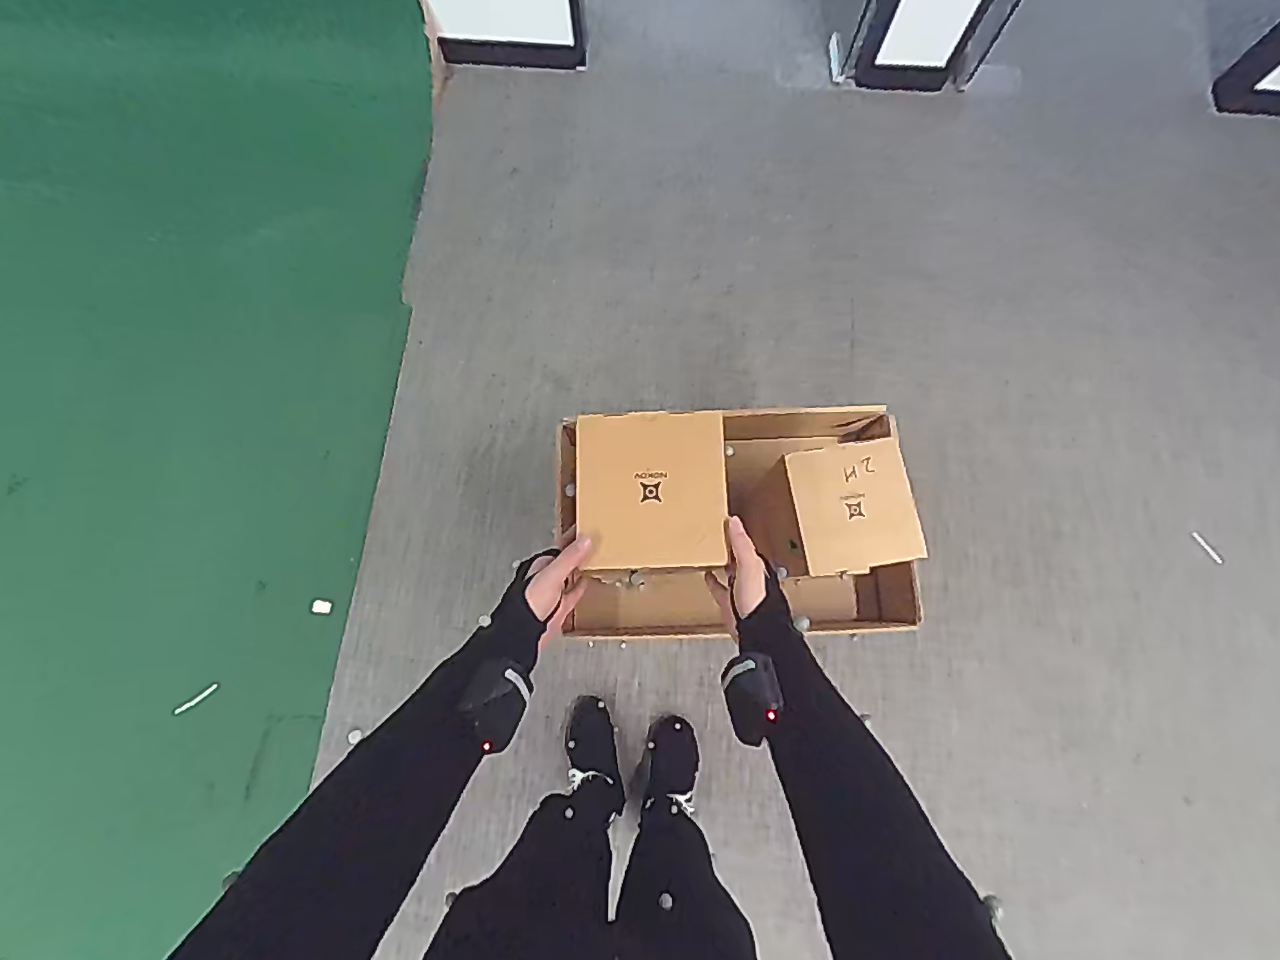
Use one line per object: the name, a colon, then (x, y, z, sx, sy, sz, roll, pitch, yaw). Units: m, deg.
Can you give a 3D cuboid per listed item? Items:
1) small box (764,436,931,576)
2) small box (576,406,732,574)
small box: (0.297, 0.049, 0.812, 0.168, 0.176, 0.179, -8, 78, -2)
small box: (0.017, 0.023, 0.655, 0.168, 0.176, 0.179, -1, 76, 1)
